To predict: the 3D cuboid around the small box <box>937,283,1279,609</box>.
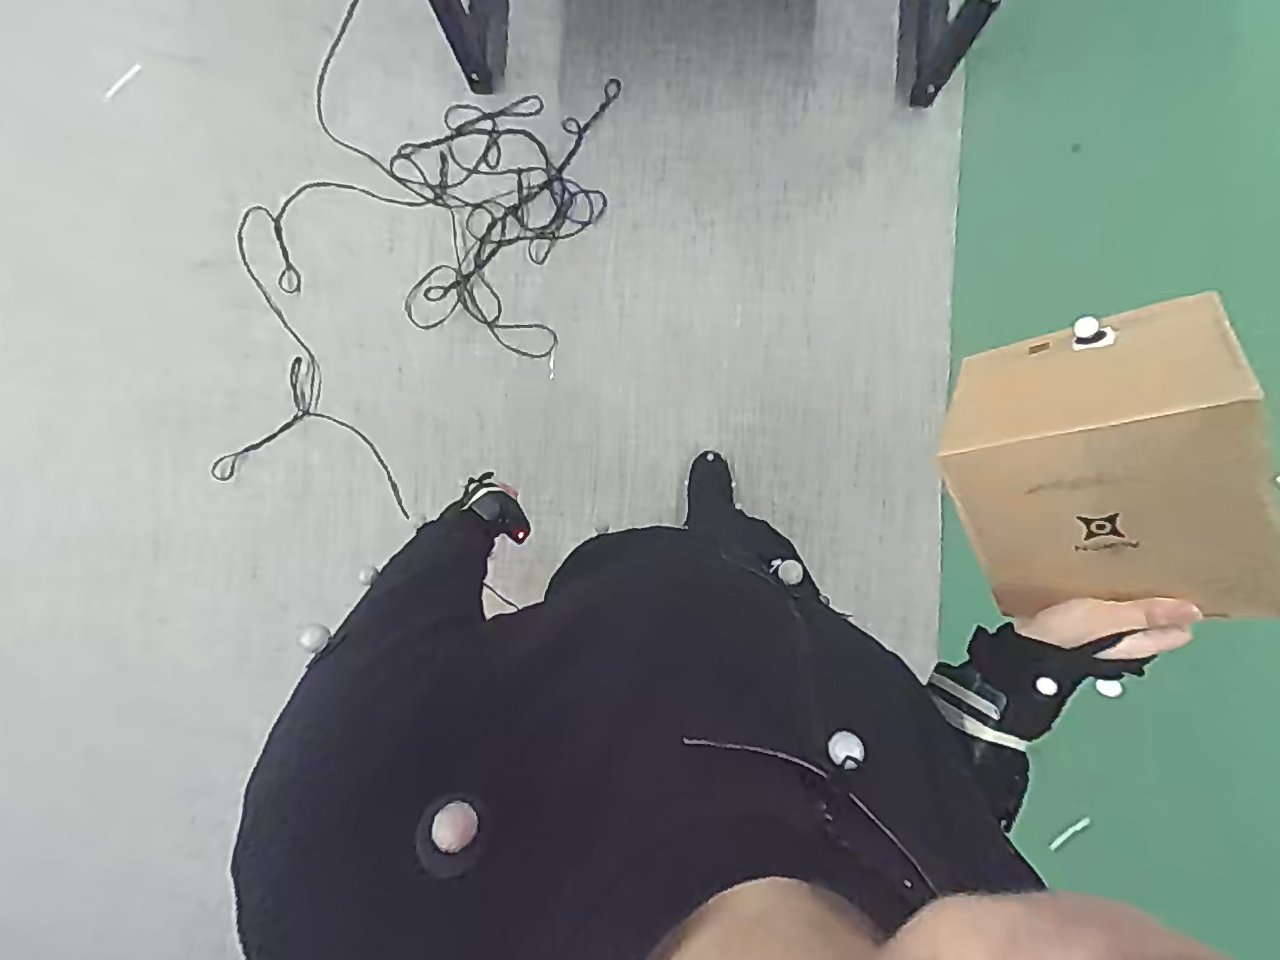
[{"bbox_3d":[0.361,-0.021,0.425,0.179,0.168,0.176,56,47,-18],"label":"small box"}]
